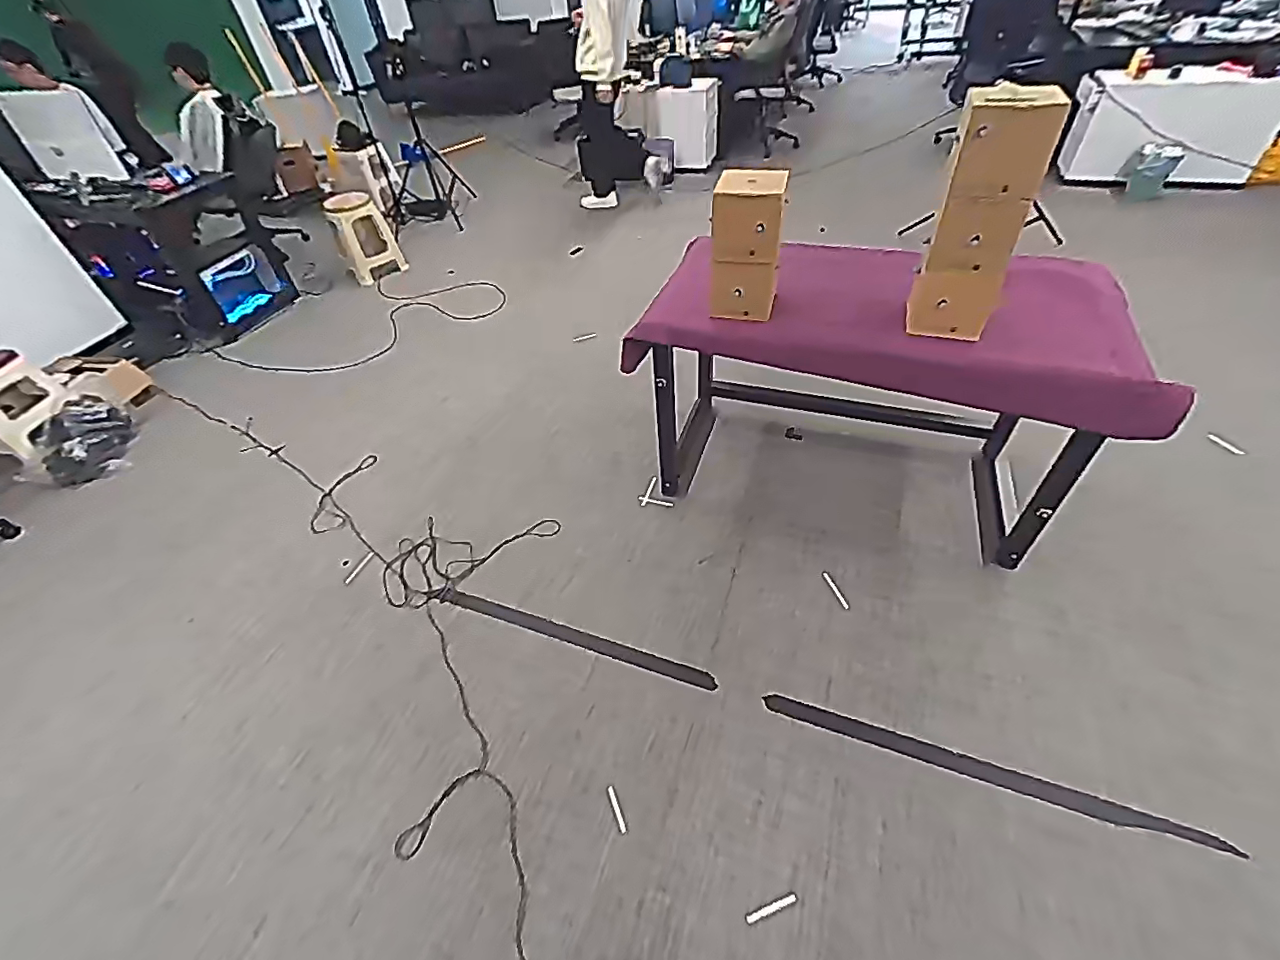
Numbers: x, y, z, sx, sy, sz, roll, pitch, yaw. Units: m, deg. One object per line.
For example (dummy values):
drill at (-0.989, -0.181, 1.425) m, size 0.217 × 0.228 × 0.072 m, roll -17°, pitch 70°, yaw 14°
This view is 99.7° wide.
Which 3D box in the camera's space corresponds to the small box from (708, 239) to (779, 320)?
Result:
small box at (0.286, -0.561, 1.500) m, size 0.168 × 0.176 × 0.179 m, roll 9°, pitch 46°, yaw 14°

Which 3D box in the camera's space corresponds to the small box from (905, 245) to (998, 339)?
small box at (0.782, -0.475, 1.369) m, size 0.168 × 0.176 × 0.179 m, roll 12°, pitch 47°, yaw 17°

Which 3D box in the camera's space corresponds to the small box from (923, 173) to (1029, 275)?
small box at (0.771, -0.593, 1.256) m, size 0.168 × 0.176 × 0.179 m, roll 12°, pitch 48°, yaw 18°

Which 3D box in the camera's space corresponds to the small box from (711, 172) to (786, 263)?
small box at (0.275, -0.669, 1.380) m, size 0.168 × 0.176 × 0.179 m, roll 8°, pitch 46°, yaw 12°
